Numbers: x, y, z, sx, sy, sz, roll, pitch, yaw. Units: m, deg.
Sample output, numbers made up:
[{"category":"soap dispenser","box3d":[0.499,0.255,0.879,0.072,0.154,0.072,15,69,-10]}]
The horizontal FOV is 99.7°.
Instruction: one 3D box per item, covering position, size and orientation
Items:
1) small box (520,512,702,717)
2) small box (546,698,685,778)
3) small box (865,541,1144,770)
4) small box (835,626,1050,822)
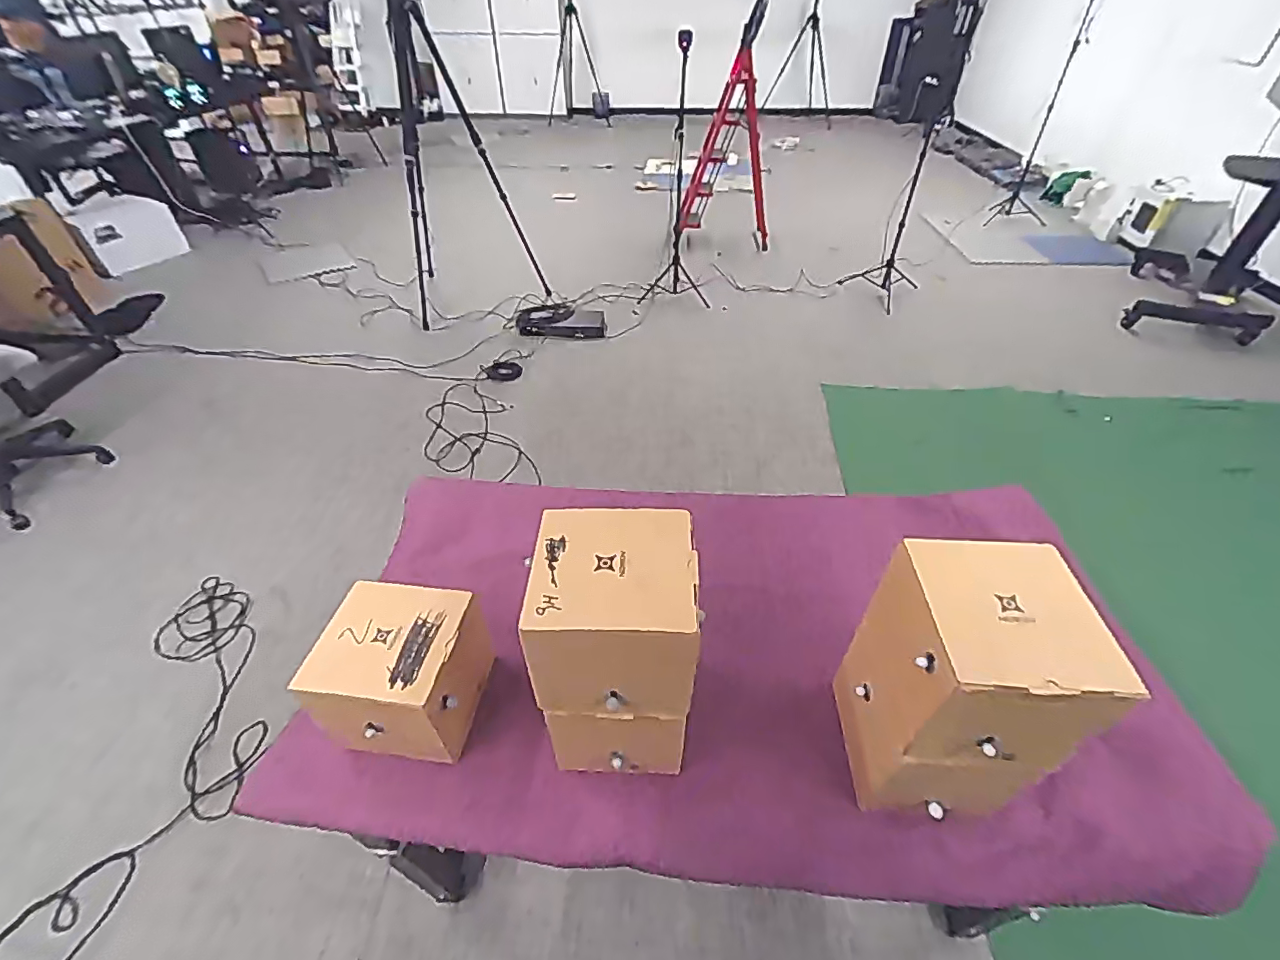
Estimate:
[{"category":"small box","box3d":[-0.028,0.156,0.625,0.179,0.176,0.168,1,41,0]},{"category":"small box","box3d":[-0.027,0.277,0.735,0.168,0.176,0.179,1,41,1]},{"category":"small box","box3d":[0.367,0.190,0.593,0.168,0.176,0.179,2,43,2]},{"category":"small box","box3d":[0.365,0.313,0.698,0.168,0.176,0.179,2,43,3]}]
